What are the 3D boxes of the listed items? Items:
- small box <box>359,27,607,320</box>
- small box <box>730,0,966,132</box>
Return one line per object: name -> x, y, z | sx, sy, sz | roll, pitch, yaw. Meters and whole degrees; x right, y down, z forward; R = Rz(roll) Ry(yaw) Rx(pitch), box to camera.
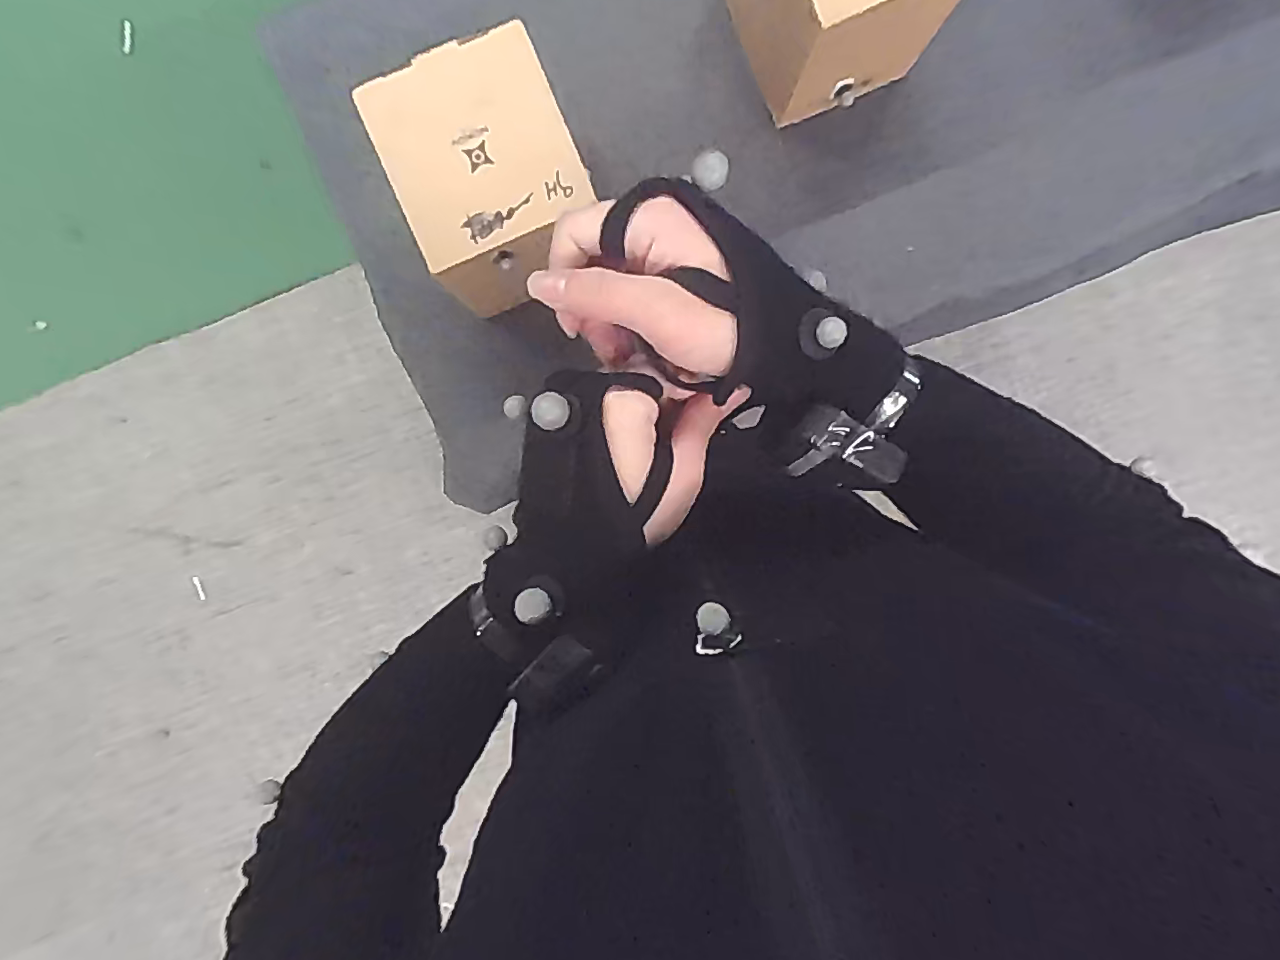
small box -> -0.143, -0.293, 0.558 | 0.168, 0.176, 0.179 | -23, 93, 1
small box -> 0.204, -0.507, 0.549 | 0.168, 0.176, 0.179 | -23, 95, 2
